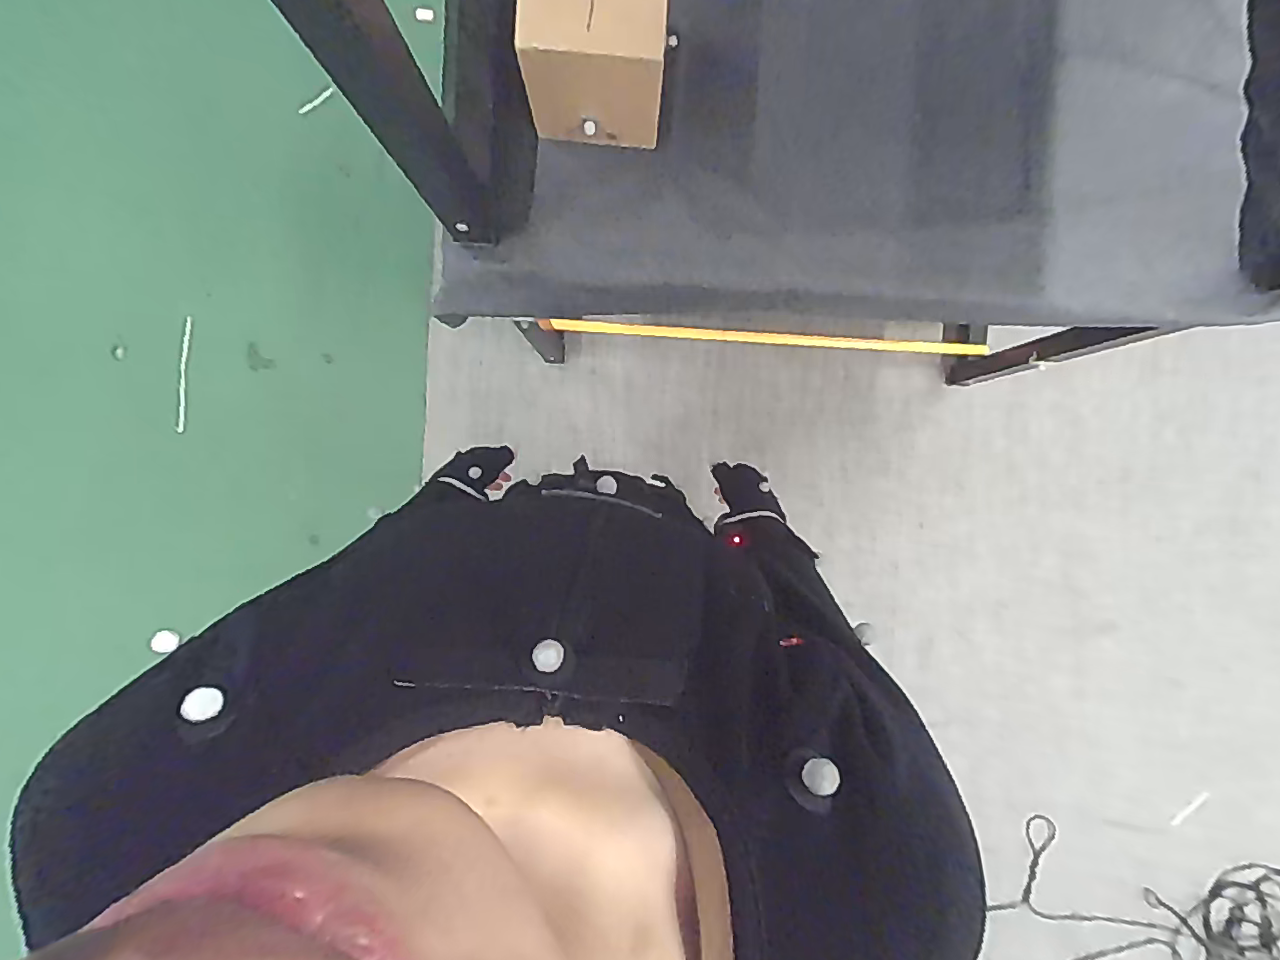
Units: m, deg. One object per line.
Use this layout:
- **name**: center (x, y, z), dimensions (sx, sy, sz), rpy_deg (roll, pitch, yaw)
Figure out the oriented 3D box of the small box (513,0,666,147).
- **small box**: center (-0.054, -0.556, 0.671), dimensions (0.168, 0.176, 0.179), rpy_deg (4, 91, -1)
